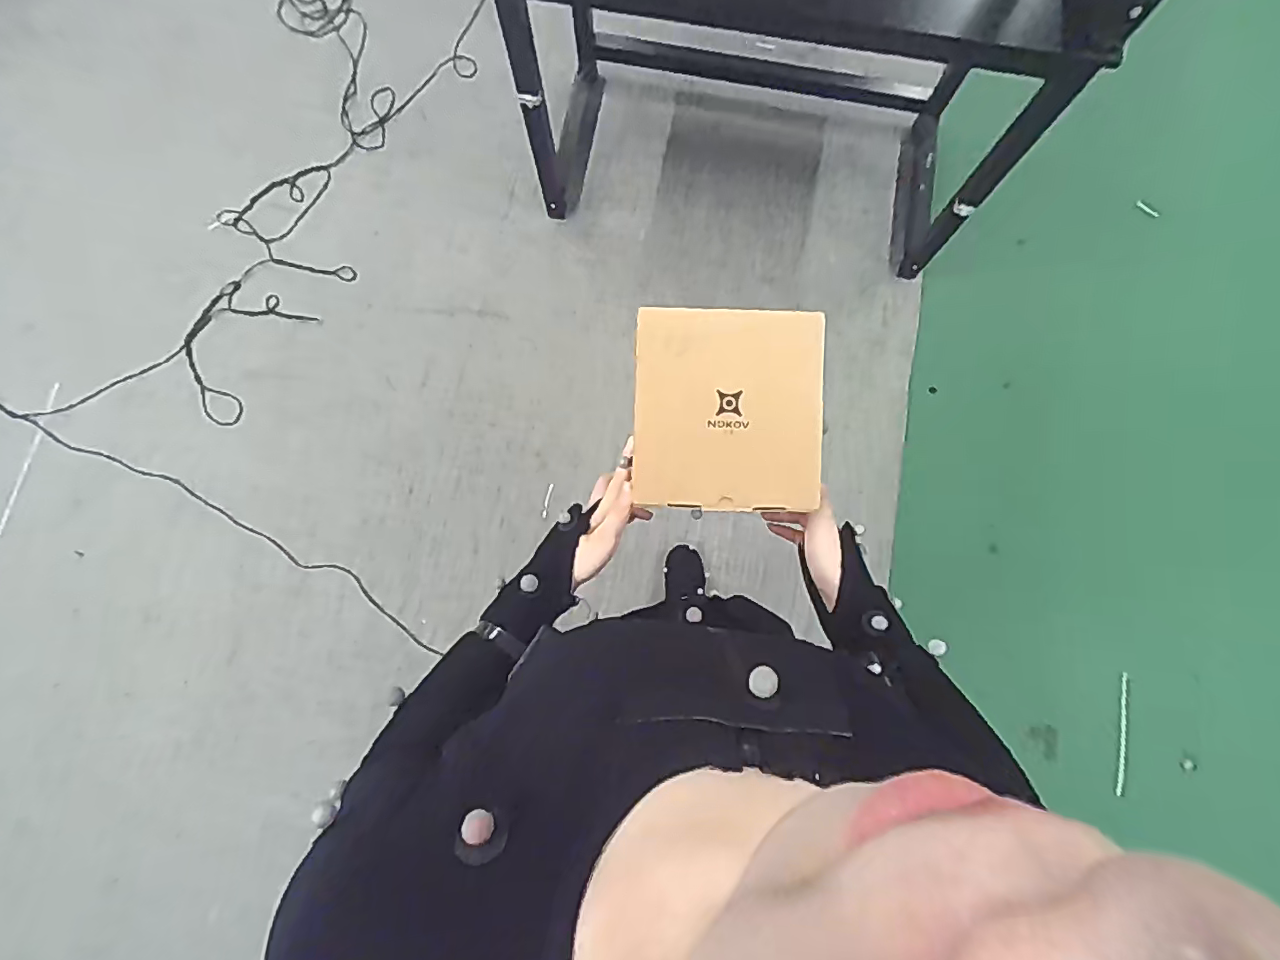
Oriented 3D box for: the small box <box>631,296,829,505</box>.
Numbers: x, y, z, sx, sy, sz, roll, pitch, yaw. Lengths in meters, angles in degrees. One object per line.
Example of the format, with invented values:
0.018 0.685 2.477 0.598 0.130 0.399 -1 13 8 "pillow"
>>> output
0.076 -0.065 0.537 0.168 0.176 0.179 1 89 0 "small box"
